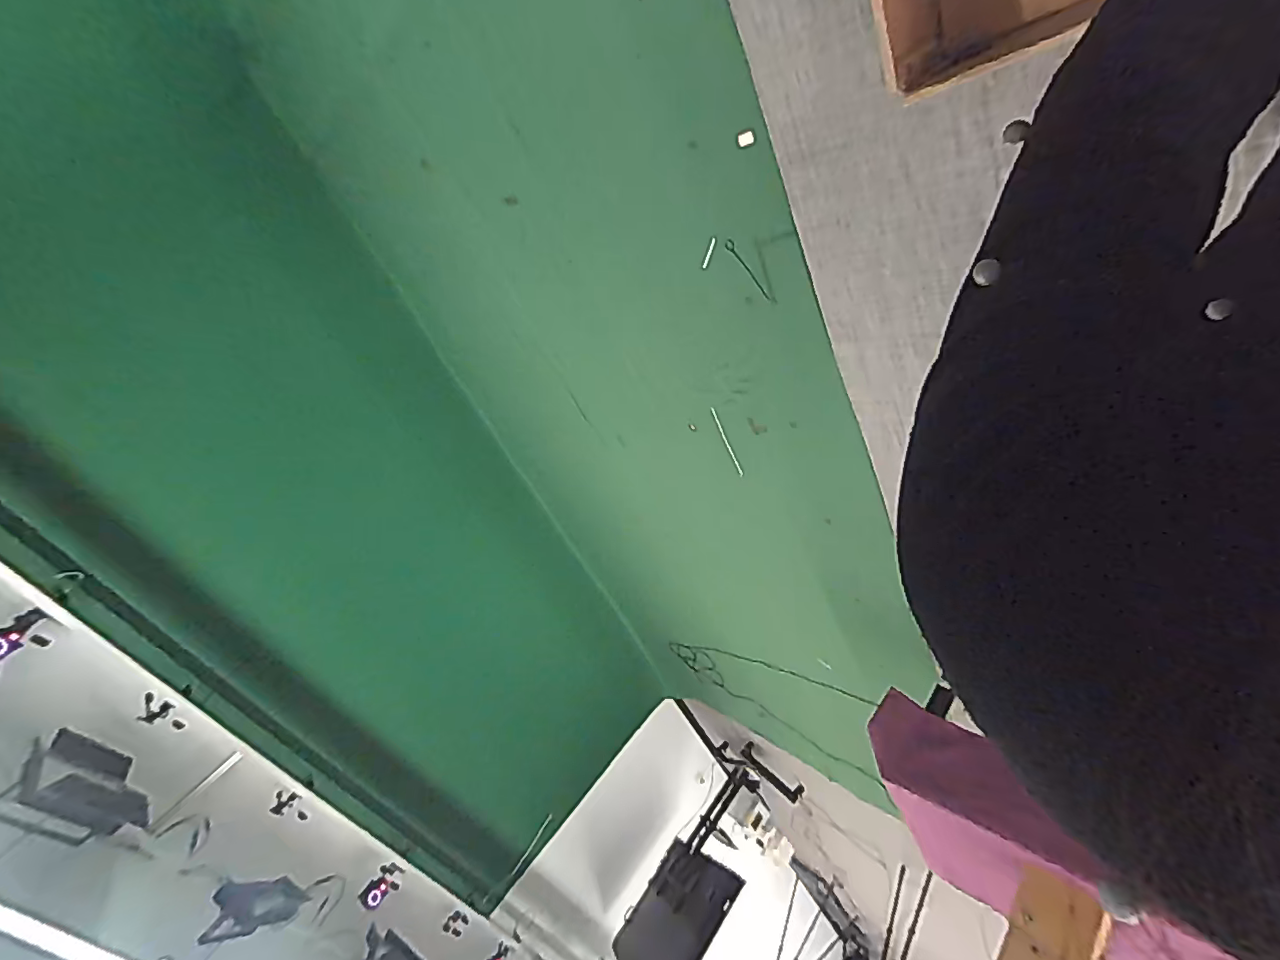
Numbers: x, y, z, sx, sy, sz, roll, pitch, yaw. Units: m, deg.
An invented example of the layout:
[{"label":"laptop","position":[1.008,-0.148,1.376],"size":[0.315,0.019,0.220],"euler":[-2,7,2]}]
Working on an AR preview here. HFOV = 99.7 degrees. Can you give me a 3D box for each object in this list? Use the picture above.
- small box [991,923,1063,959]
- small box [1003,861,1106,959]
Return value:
[{"label":"small box","position":[0.969,1.249,1.328],"size":[0.168,0.176,0.179],"euler":[12,138,51]},{"label":"small box","position":[1.075,1.142,1.397],"size":[0.179,0.176,0.168],"euler":[10,136,52]}]
